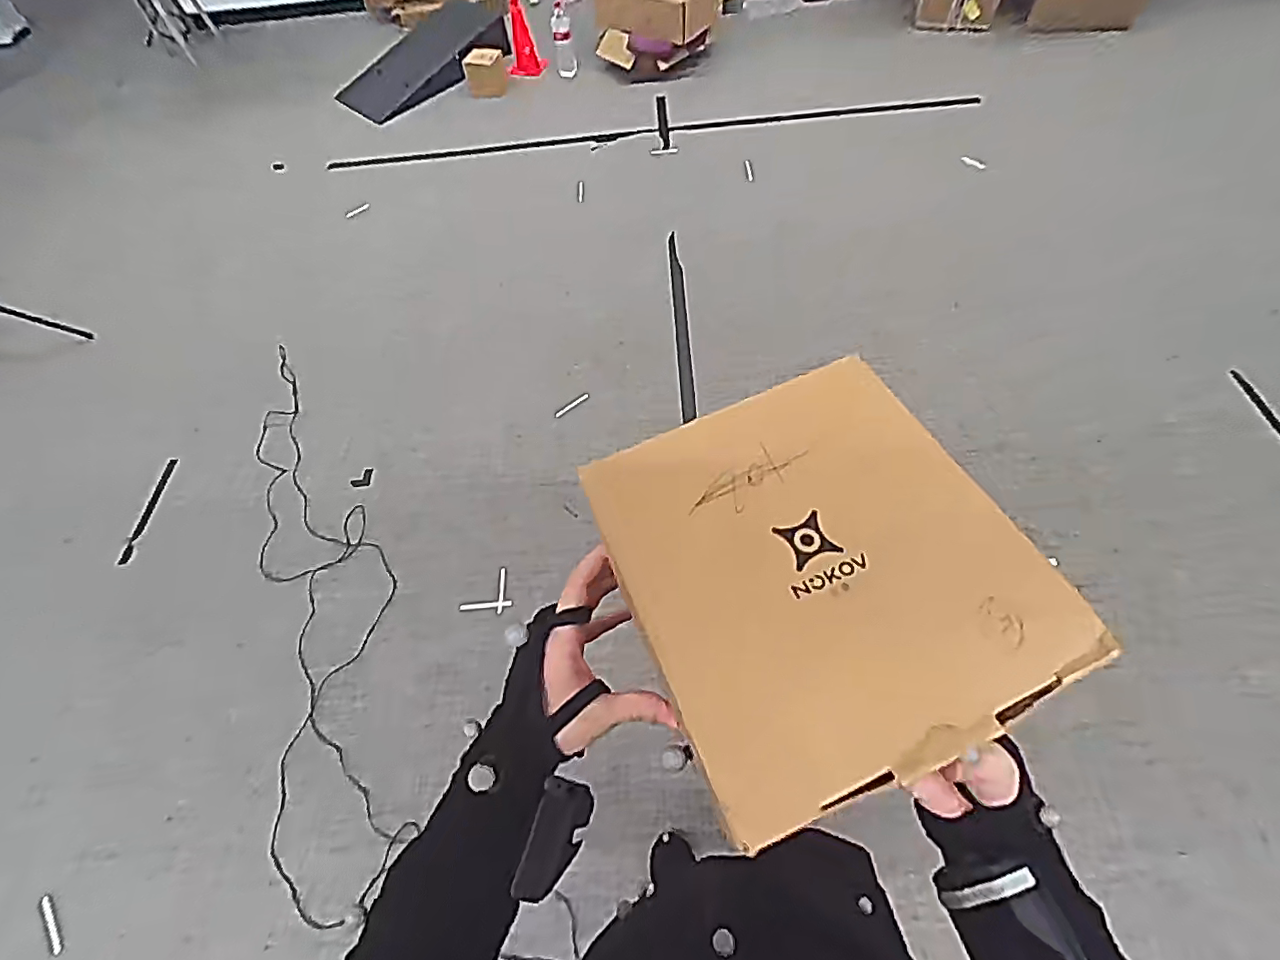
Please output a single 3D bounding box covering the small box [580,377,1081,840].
[{"bbox_3d":[0.082,0.079,0.319,0.168,0.176,0.179,-22,58,-9],"label":"small box"}]
